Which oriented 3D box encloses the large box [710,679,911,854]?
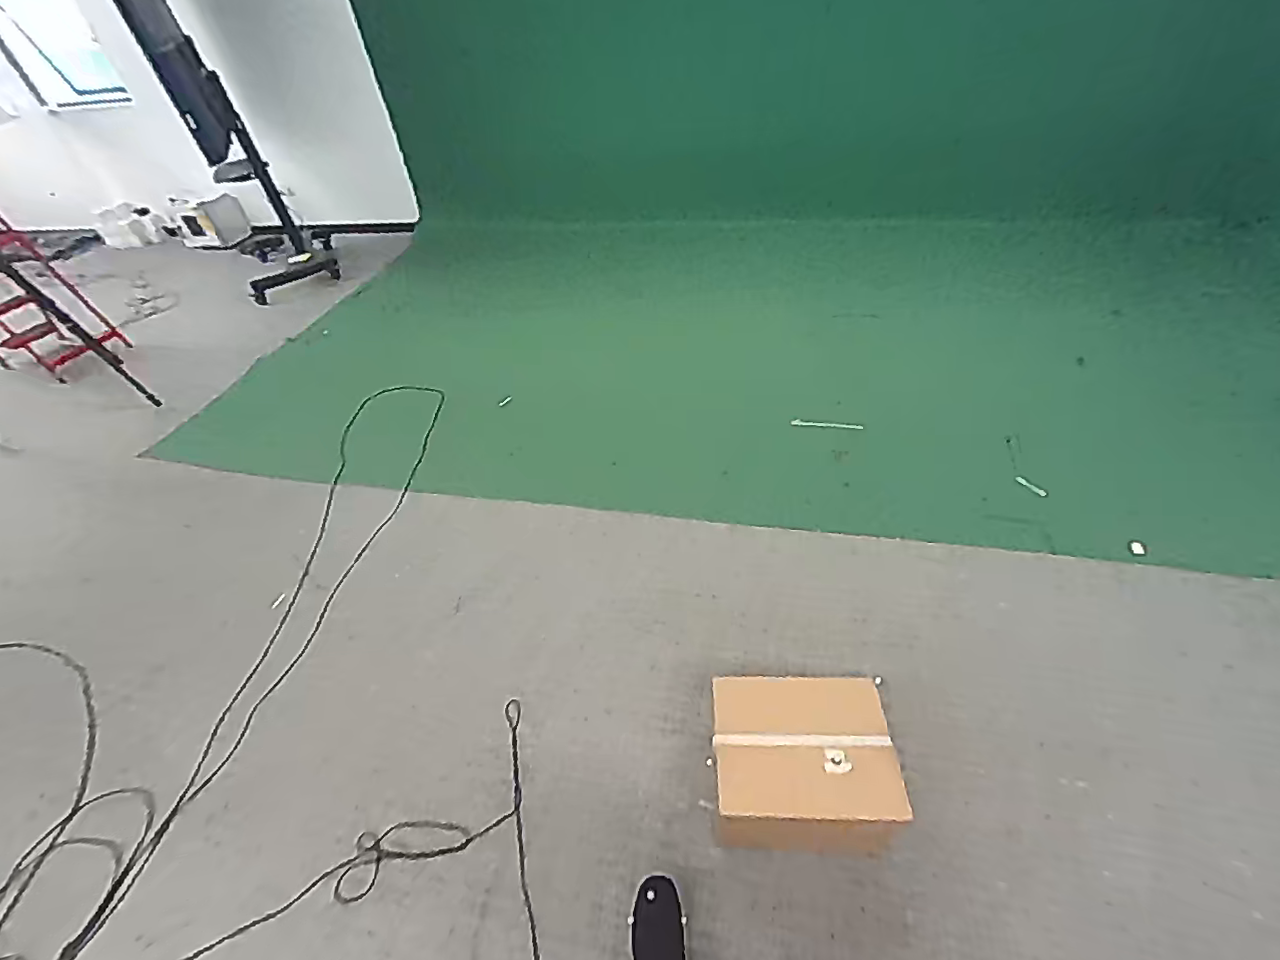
[{"bbox_3d":[0.388,0.717,1.353,0.408,0.320,0.320,-2,44,5],"label":"large box"}]
